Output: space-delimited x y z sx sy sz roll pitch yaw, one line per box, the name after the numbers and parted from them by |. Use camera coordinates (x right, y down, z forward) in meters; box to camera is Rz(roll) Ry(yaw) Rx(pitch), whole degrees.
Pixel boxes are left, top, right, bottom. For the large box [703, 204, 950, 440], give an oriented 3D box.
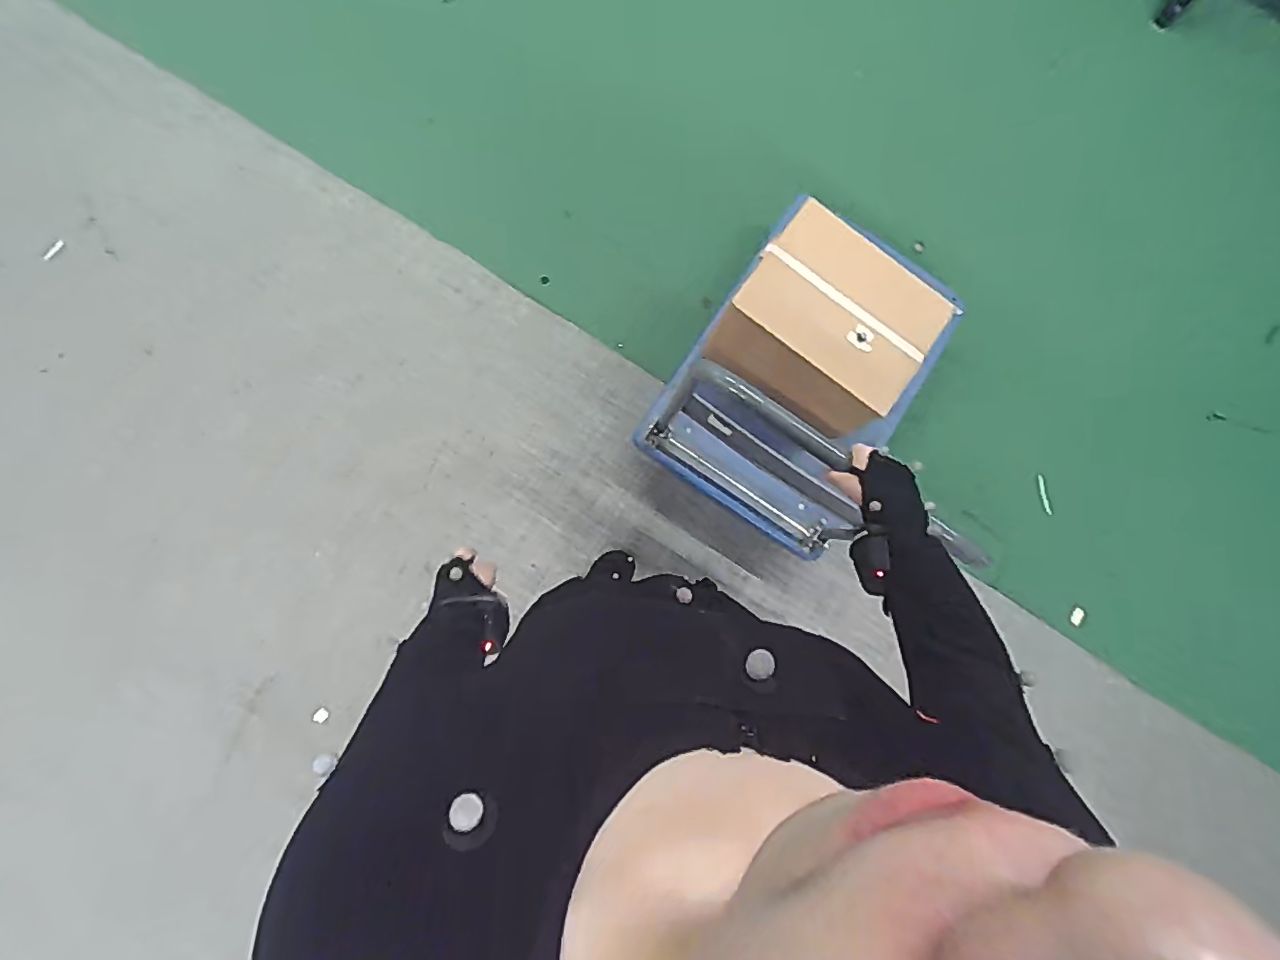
0.424 -0.358 1.312 0.408 0.320 0.320 37 81 -1 | large box
